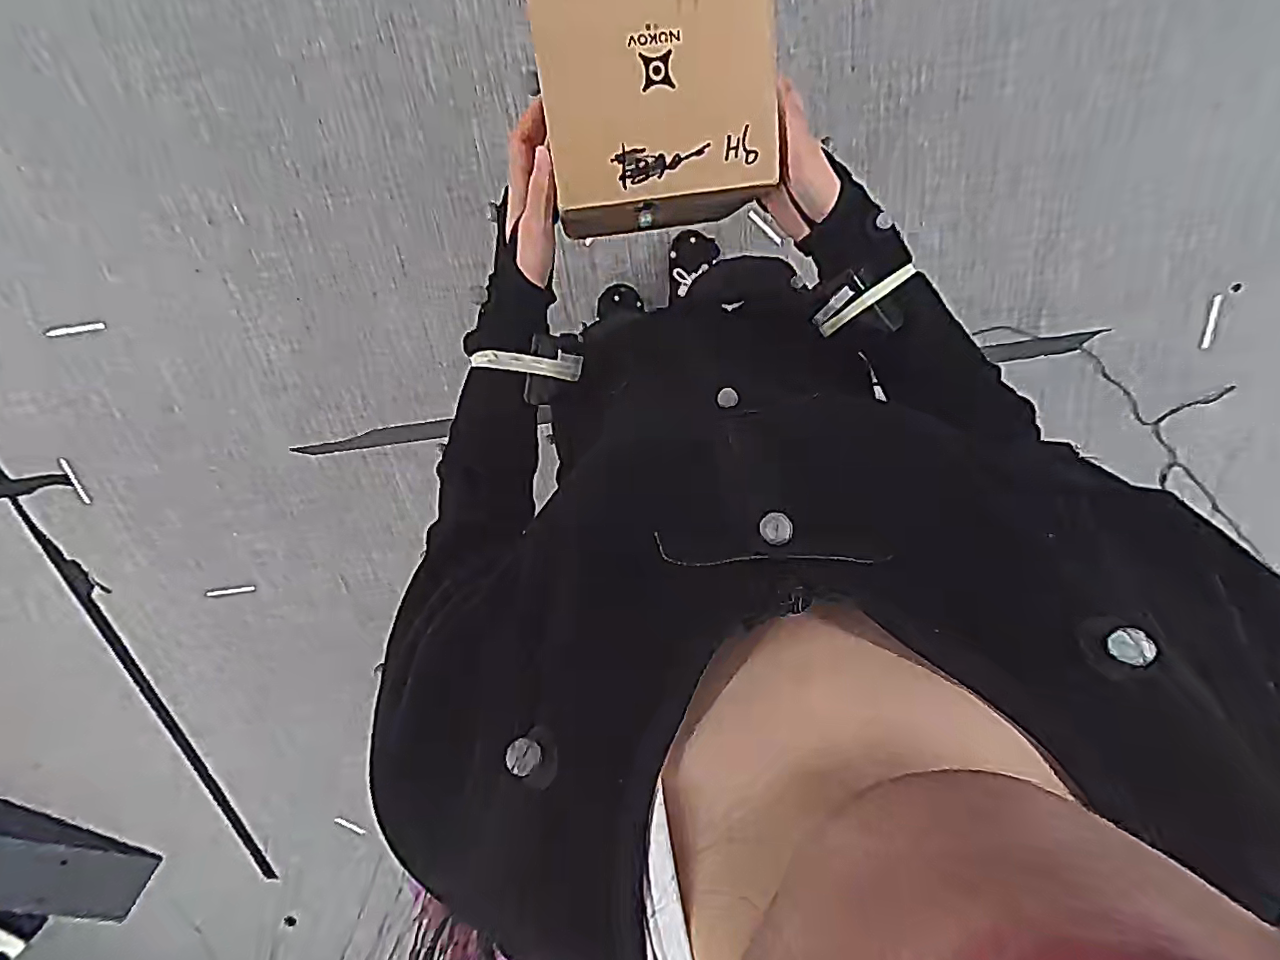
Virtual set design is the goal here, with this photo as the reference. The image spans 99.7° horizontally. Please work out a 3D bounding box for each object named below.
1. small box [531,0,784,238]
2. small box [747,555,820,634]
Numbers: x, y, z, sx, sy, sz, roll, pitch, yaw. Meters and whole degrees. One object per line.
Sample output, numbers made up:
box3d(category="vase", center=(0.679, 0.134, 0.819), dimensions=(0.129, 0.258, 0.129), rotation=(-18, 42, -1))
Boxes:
box3d(category="small box", center=(0.006, -0.311, 0.441), dimensions=(0.168, 0.176, 0.179), rotation=(-9, 108, -3))
box3d(category="small box", center=(0.428, 0.340, 1.628), dimensions=(0.179, 0.176, 0.168), rotation=(-6, 112, 2))
